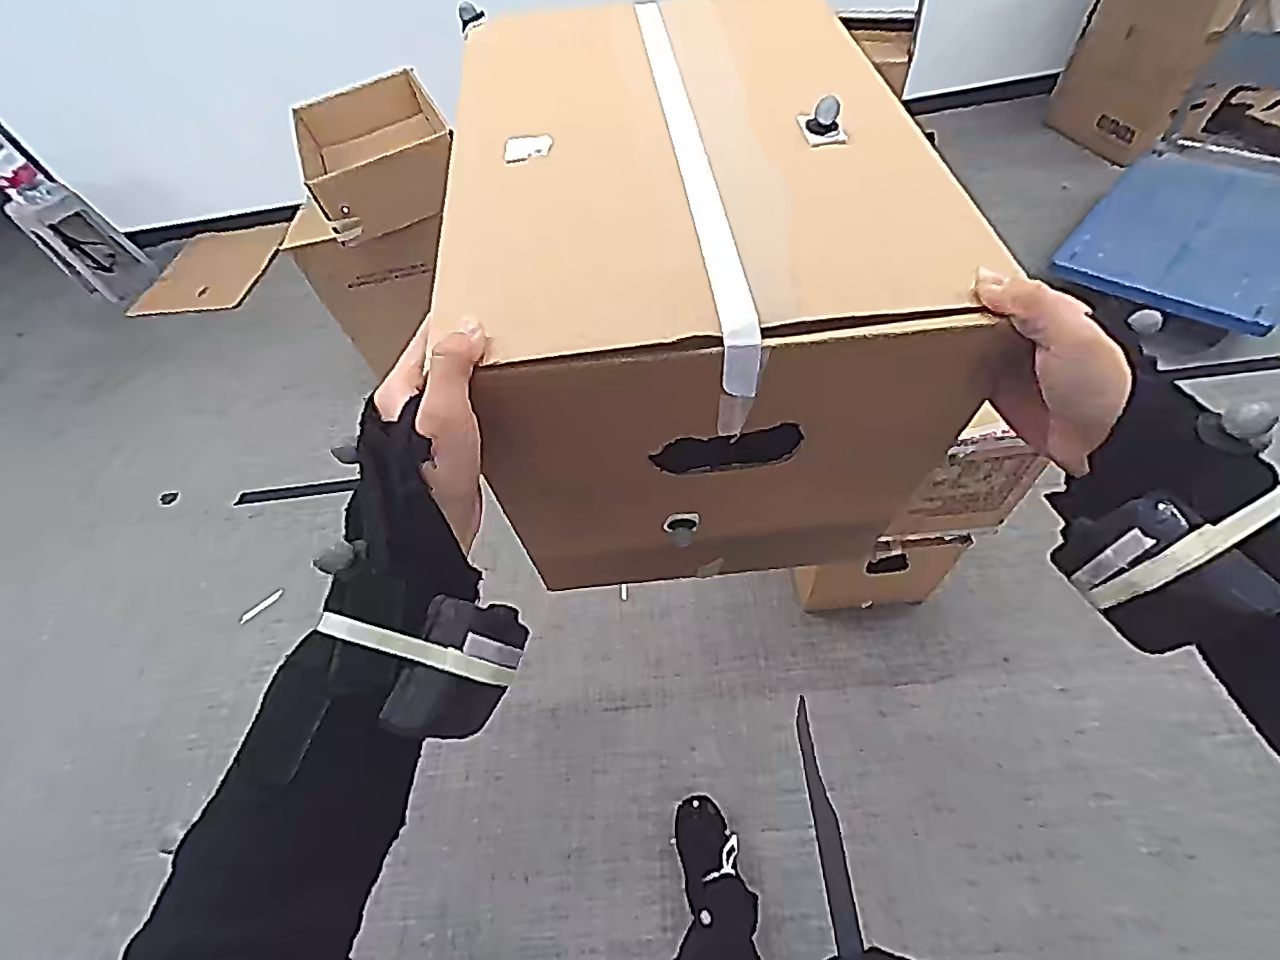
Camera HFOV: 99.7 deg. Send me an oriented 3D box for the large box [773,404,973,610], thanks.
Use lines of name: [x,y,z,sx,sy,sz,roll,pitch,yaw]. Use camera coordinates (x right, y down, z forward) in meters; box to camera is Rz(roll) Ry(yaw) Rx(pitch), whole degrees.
large box: [0.541,0.071,1.359,0.320,0.320,0.408,-8,55,4]
